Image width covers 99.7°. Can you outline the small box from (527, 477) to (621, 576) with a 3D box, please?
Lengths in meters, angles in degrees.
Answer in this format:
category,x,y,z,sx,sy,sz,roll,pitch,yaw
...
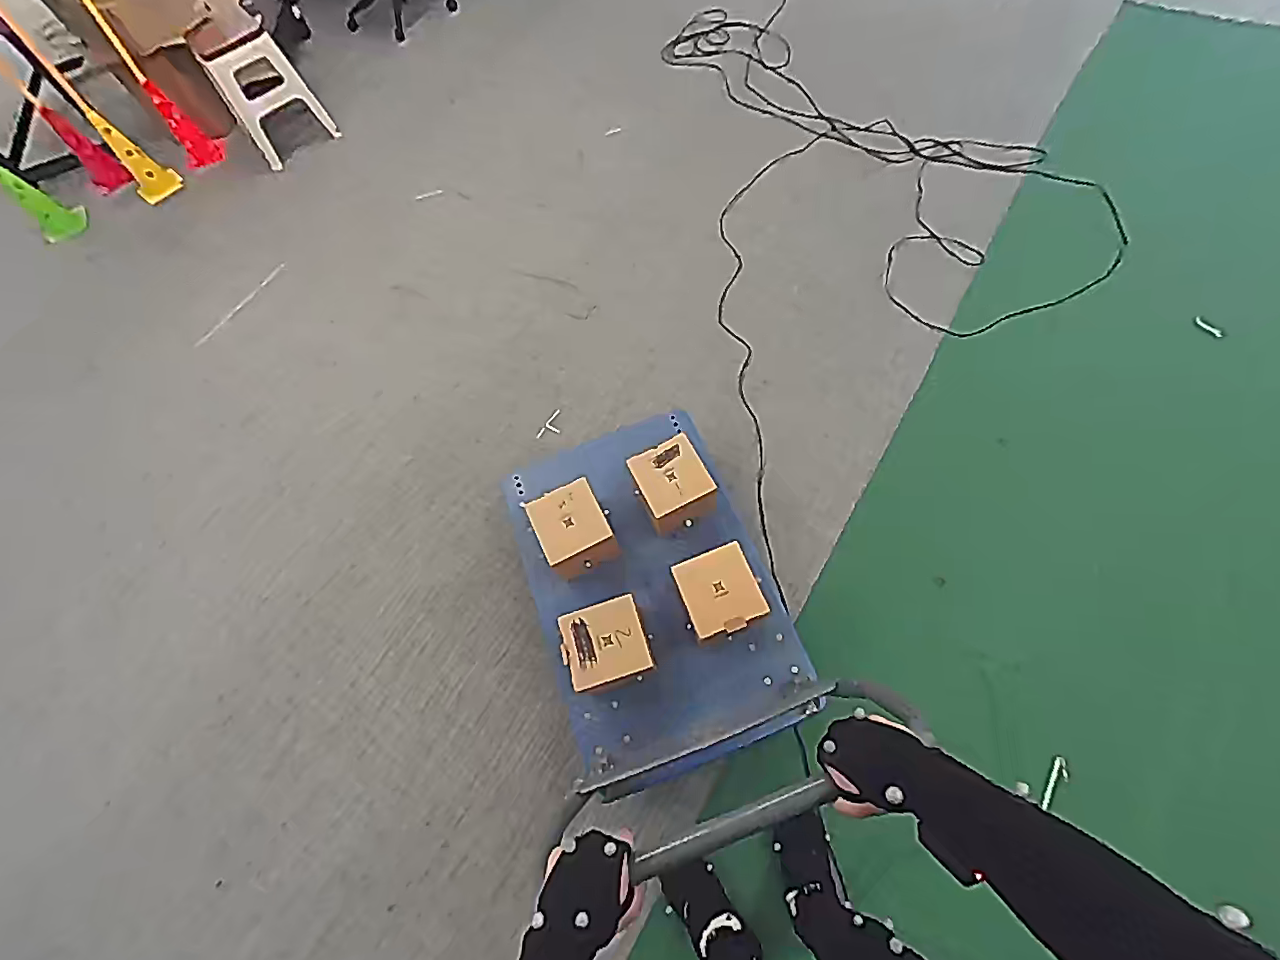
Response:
category,x,y,z,sx,sy,sz,roll,pitch,yaw
small box,-0.159,0.126,1.360,0.168,0.176,0.179,-25,66,-6

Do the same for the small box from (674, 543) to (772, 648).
category,x,y,z,sx,sy,sz,roll,pitch,yaw
small box,0.186,0.273,1.260,0.168,0.176,0.179,-21,67,-3

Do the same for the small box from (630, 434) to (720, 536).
category,x,y,z,sx,sy,sz,roll,pitch,yaw
small box,0.089,0.019,1.380,0.168,0.176,0.179,-26,67,-4
